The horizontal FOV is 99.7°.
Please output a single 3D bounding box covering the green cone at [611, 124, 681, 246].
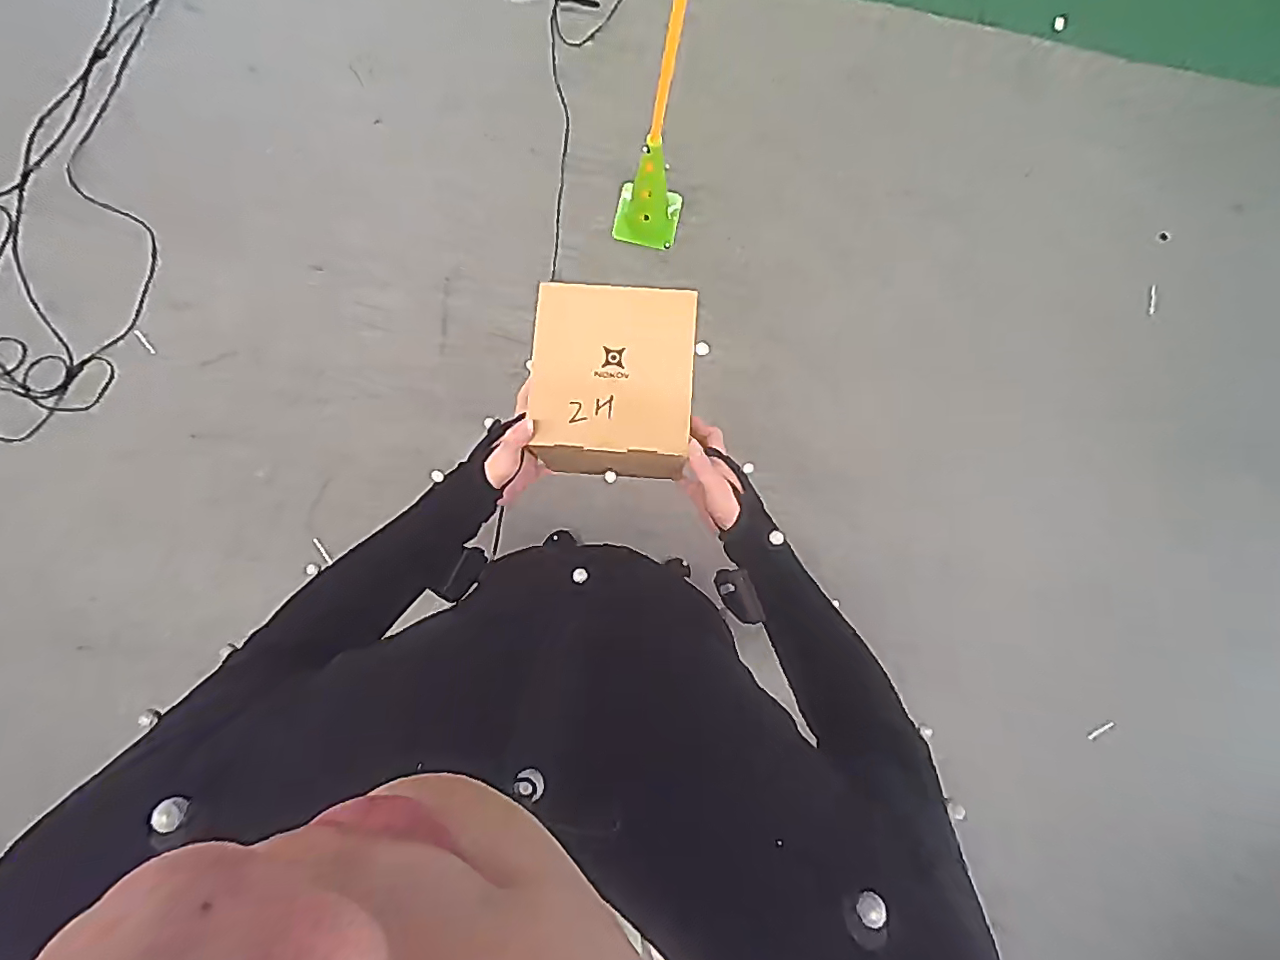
[{"bbox_3d":[0.023,-0.875,1.561,0.202,0.368,0.200,11,83,0],"label":"green cone"}]
